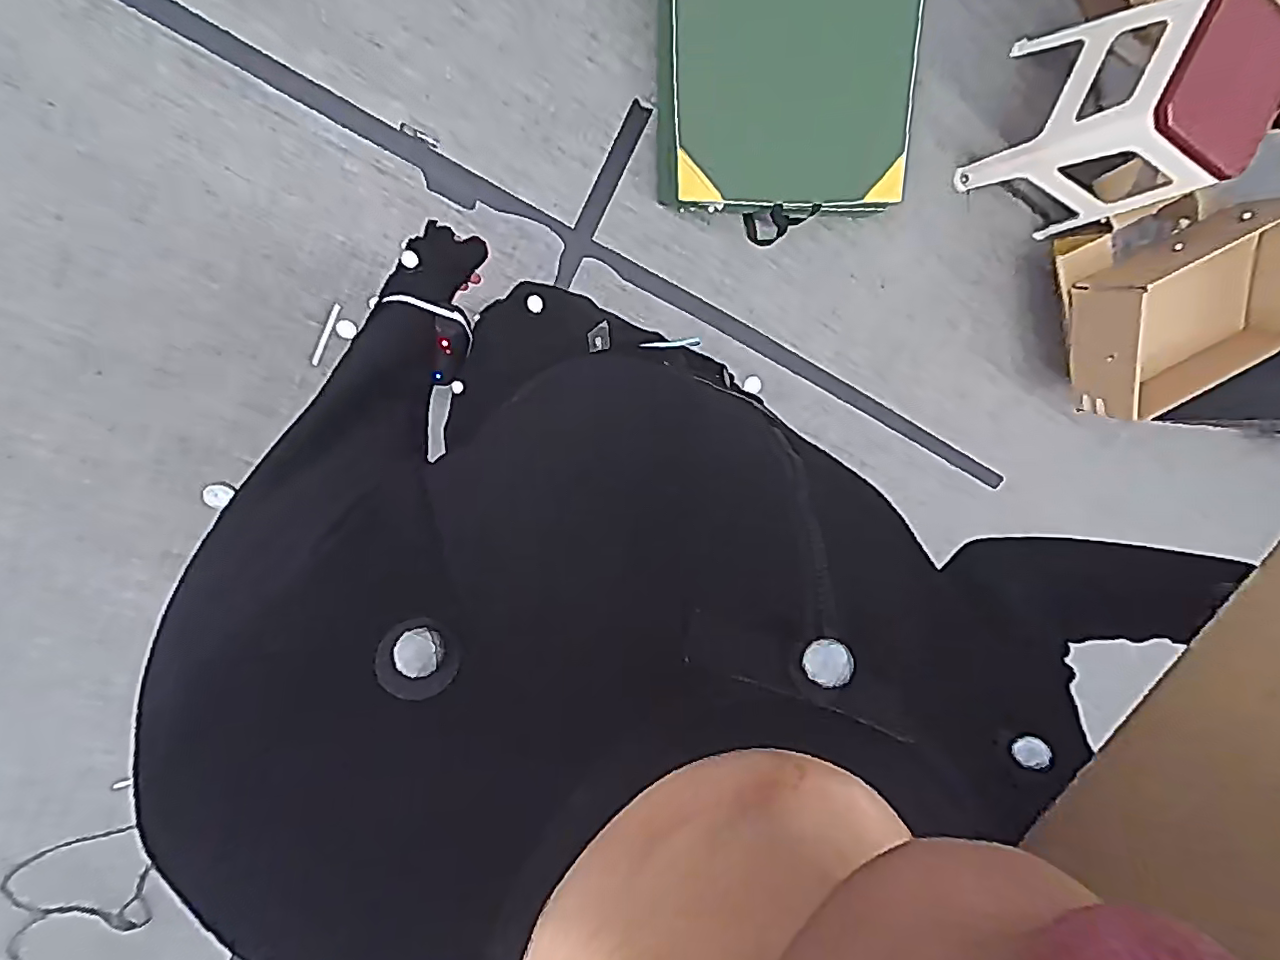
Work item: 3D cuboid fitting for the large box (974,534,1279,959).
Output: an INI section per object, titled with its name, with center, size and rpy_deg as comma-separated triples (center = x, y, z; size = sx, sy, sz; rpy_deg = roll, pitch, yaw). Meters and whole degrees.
[large box]
center = 0.395, 0.186, 0.136
size = 0.408, 0.320, 0.320
rpy_deg = -22, 92, -24
